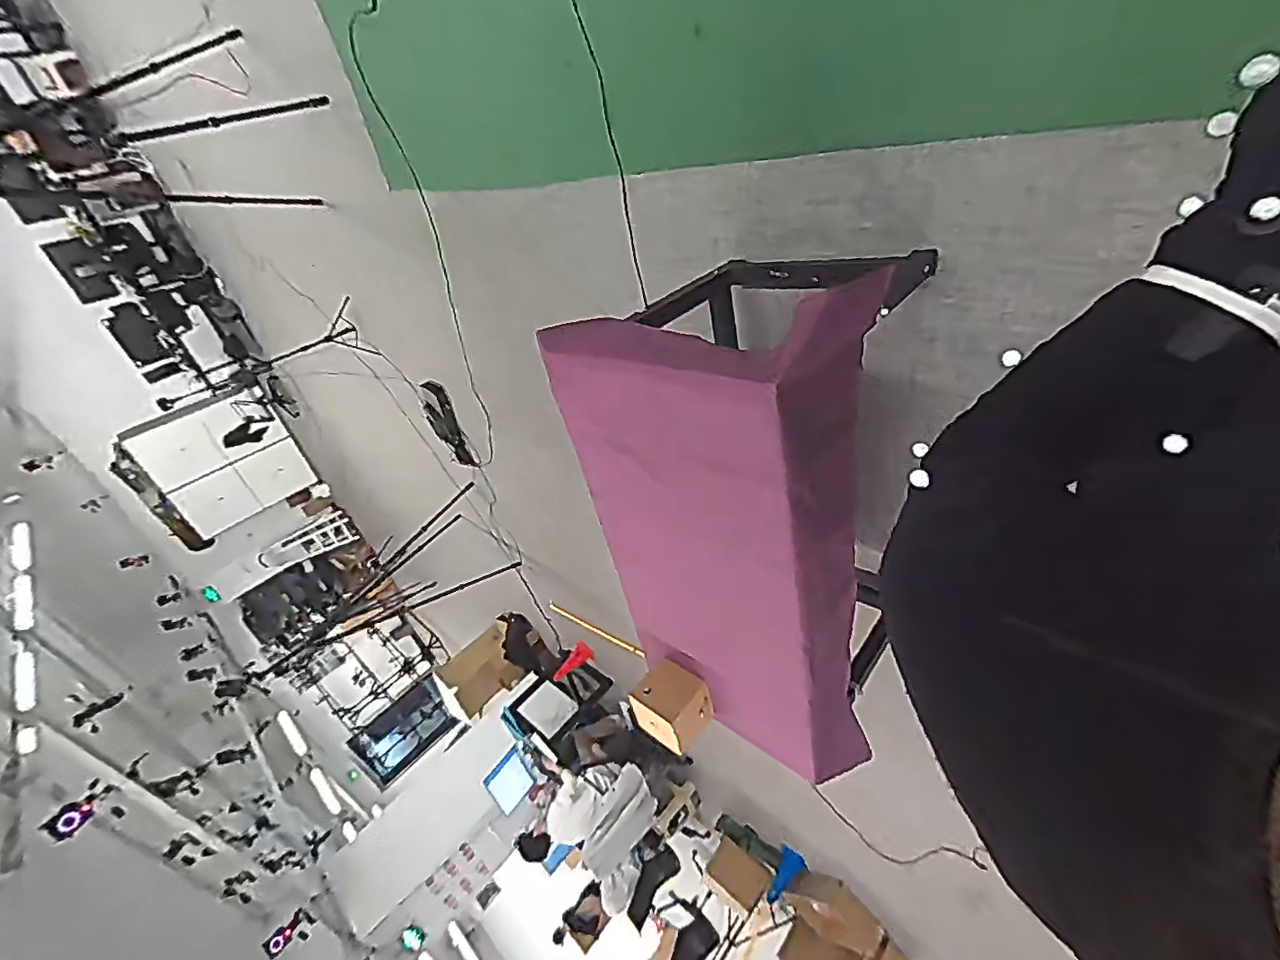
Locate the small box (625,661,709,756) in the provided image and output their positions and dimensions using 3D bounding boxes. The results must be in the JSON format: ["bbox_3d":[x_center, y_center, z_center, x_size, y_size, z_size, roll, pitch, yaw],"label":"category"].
[{"bbox_3d":[0.086,0.682,1.637,0.179,0.176,0.168,19,135,41],"label":"small box"}]
